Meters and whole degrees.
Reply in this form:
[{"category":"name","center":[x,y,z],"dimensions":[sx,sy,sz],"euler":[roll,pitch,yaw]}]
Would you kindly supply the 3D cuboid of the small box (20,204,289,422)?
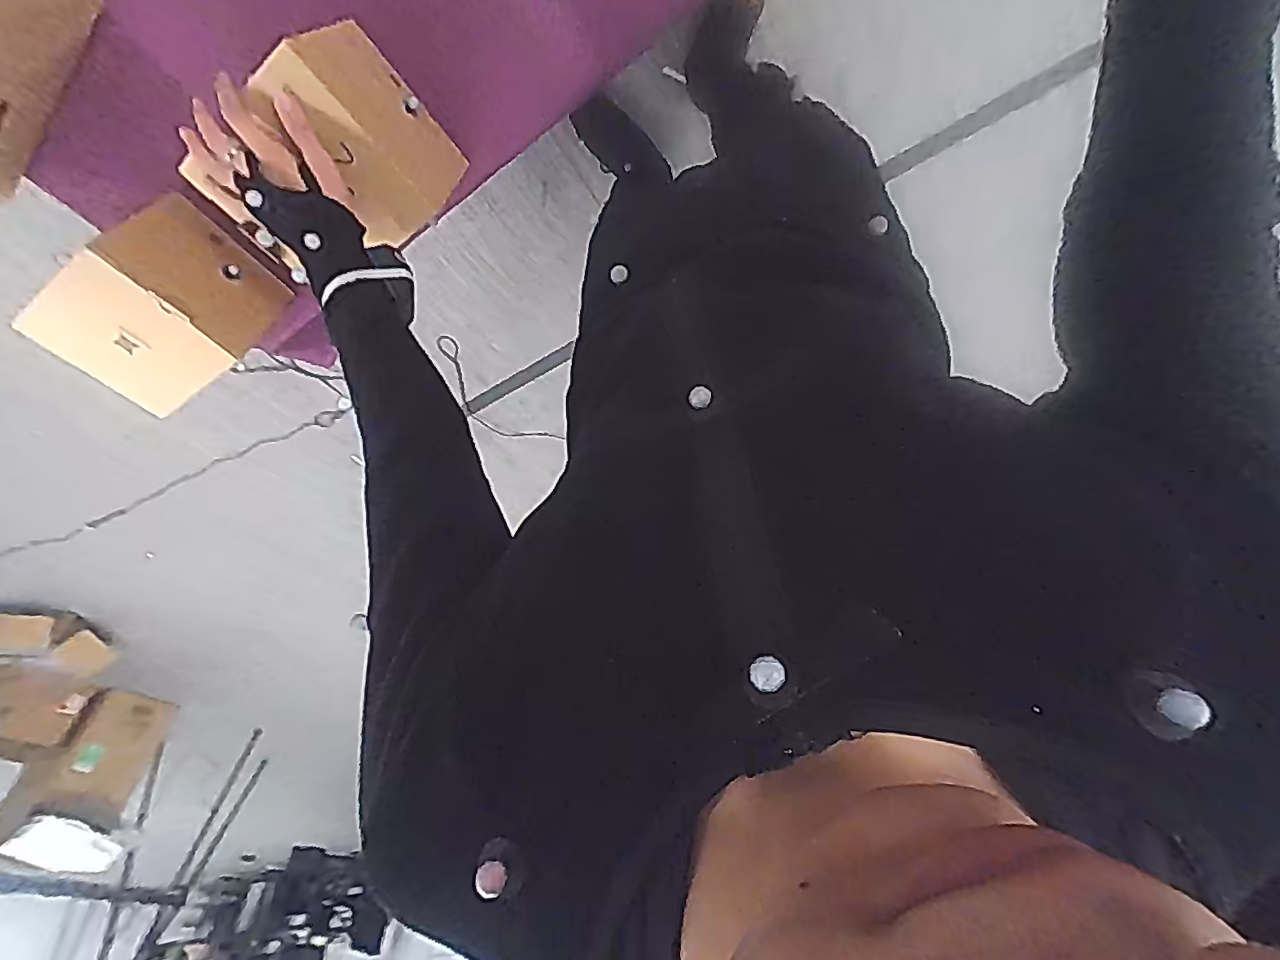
[{"category":"small box","center":[-0.601,-0.213,0.696],"dimensions":[0.179,0.176,0.168],"euler":[-25,131,20]}]
